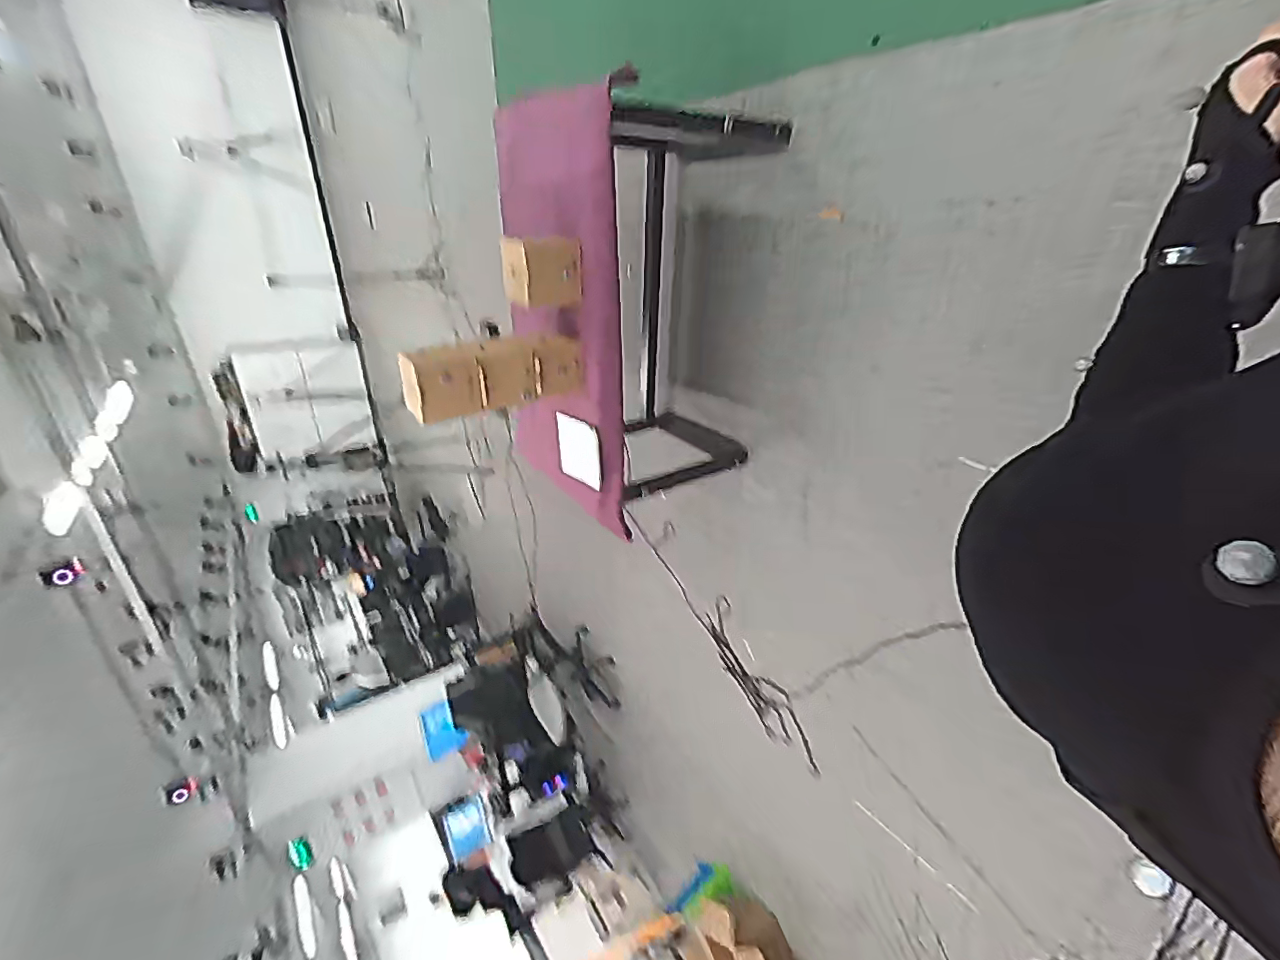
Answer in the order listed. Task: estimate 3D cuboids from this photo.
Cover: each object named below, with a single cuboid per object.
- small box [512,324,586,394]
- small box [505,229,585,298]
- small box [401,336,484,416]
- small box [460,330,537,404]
[{"bbox_3d":[-0.277,-0.381,1.674,0.179,0.176,0.168,34,131,45],"label":"small box"},{"bbox_3d":[-0.269,-0.621,1.541,0.179,0.176,0.168,35,133,46],"label":"small box"},{"bbox_3d":[-0.539,-0.295,1.496,0.179,0.176,0.168,36,132,45],"label":"small box"},{"bbox_3d":[-0.408,-0.337,1.584,0.179,0.176,0.168,36,133,46],"label":"small box"}]
